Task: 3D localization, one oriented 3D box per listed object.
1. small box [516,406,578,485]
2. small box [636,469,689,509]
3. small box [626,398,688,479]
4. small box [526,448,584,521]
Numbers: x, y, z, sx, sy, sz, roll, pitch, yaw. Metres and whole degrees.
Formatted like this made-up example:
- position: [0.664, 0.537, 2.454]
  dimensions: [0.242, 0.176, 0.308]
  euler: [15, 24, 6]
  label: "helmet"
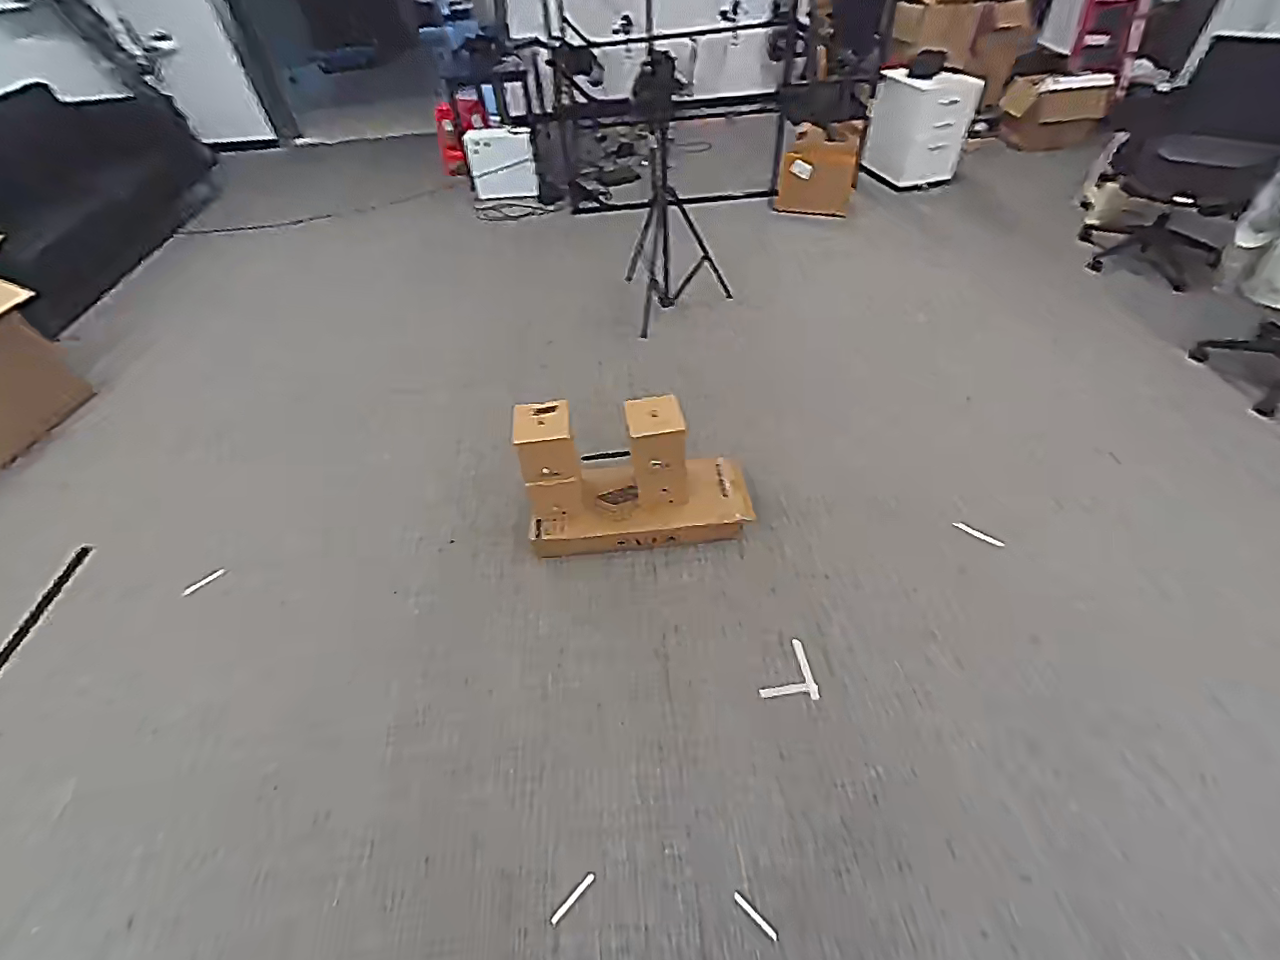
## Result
- position: [-0.288, -0.108, 1.694]
  dimensions: [0.168, 0.176, 0.179]
  euler: [-7, 47, -3]
  label: "small box"
- position: [0.070, -0.018, 1.814]
  dimensions: [0.168, 0.176, 0.179]
  euler: [-8, 47, -1]
  label: "small box"
- position: [0.051, -0.129, 1.695]
  dimensions: [0.168, 0.176, 0.179]
  euler: [-10, 47, -4]
  label: "small box"
- position: [-0.278, 0.016, 1.802]
  dimensions: [0.168, 0.176, 0.179]
  euler: [-6, 46, -2]
  label: "small box"
